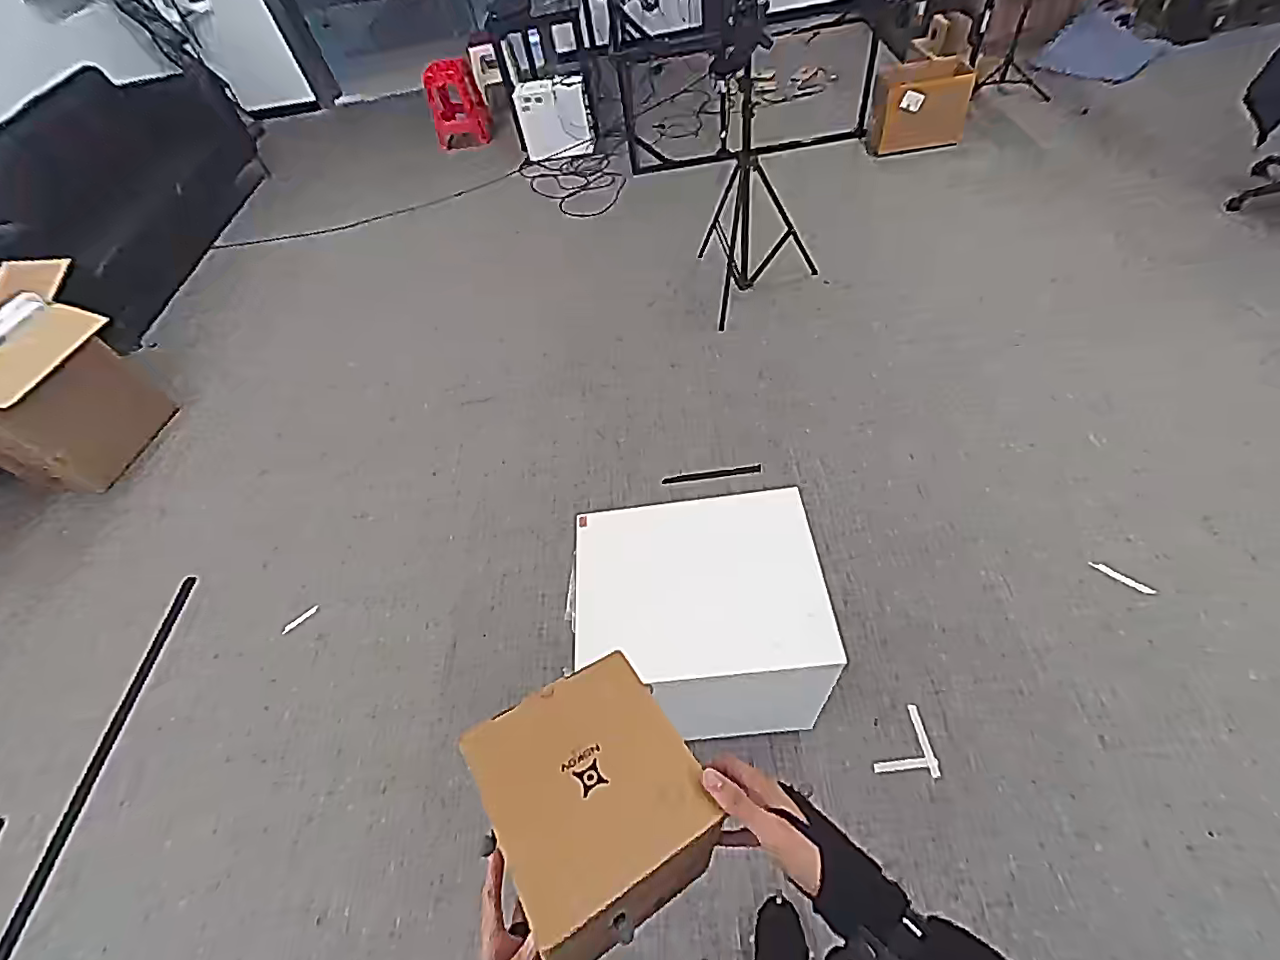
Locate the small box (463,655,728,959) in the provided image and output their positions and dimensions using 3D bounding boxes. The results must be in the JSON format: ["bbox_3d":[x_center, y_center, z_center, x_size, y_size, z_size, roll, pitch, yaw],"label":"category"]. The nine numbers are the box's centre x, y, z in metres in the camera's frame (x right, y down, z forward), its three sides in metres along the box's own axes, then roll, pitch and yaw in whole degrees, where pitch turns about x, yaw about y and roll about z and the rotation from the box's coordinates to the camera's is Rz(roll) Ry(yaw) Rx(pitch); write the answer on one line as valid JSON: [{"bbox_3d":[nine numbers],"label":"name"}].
[{"bbox_3d":[-0.041,0.307,0.500,0.168,0.176,0.179,-22,45,-24],"label":"small box"}]
